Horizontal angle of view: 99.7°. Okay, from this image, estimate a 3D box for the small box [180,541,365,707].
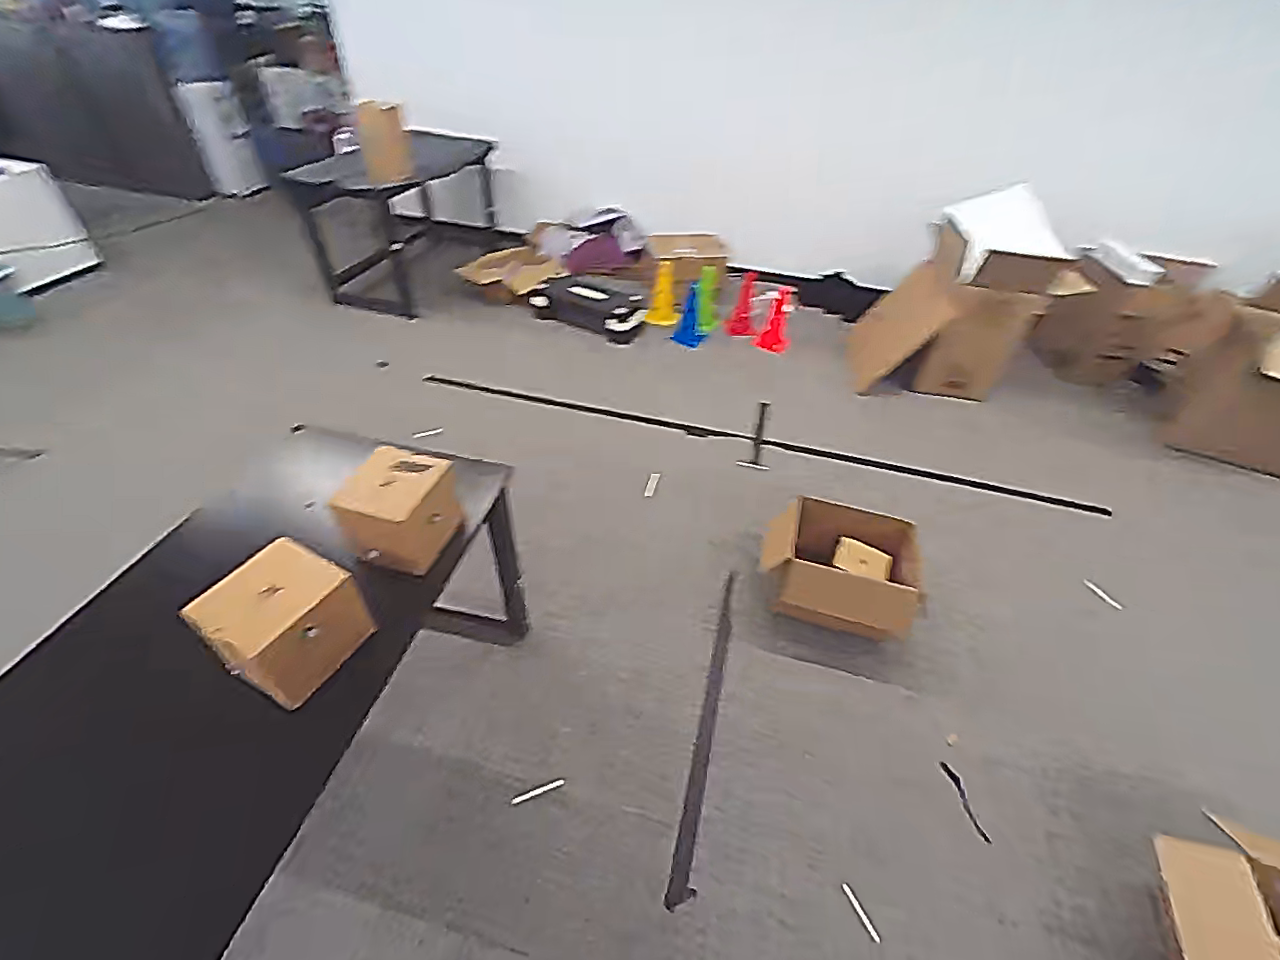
[{"bbox_3d":[-0.597,0.241,0.911,0.168,0.176,0.179,20,46,18],"label":"small box"}]

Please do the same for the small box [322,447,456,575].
[{"bbox_3d":[-0.495,0.063,1.102,0.168,0.176,0.179,12,45,10],"label":"small box"}]
